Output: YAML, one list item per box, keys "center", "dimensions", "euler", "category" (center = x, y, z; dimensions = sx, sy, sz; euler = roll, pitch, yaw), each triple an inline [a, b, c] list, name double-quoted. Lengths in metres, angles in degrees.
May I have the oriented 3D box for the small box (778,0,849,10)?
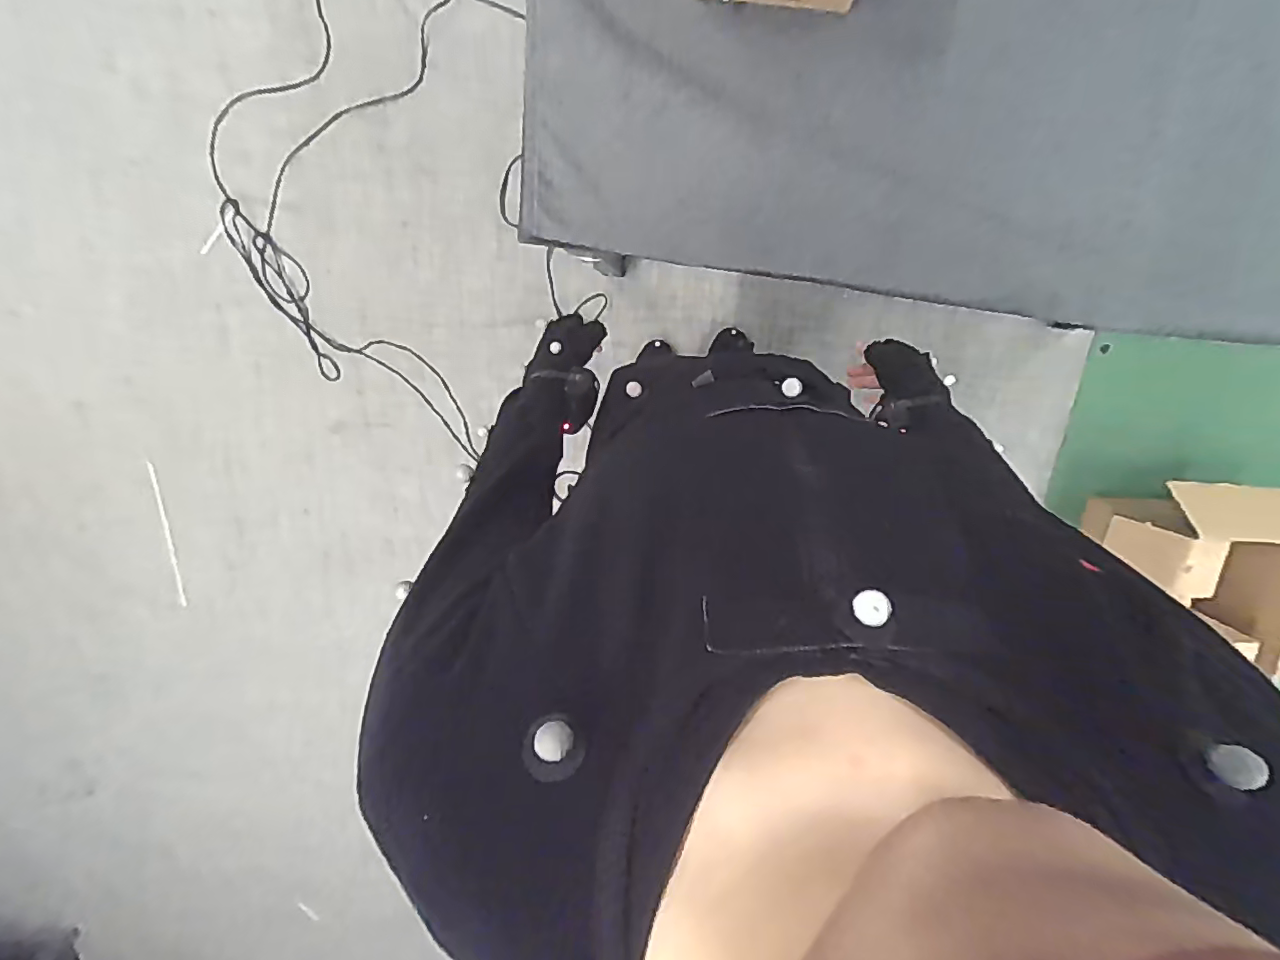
- center: [0.149, -0.571, 0.485]
  dimensions: [0.168, 0.176, 0.179]
  euler: [7, 106, 1]
  category: "small box"
